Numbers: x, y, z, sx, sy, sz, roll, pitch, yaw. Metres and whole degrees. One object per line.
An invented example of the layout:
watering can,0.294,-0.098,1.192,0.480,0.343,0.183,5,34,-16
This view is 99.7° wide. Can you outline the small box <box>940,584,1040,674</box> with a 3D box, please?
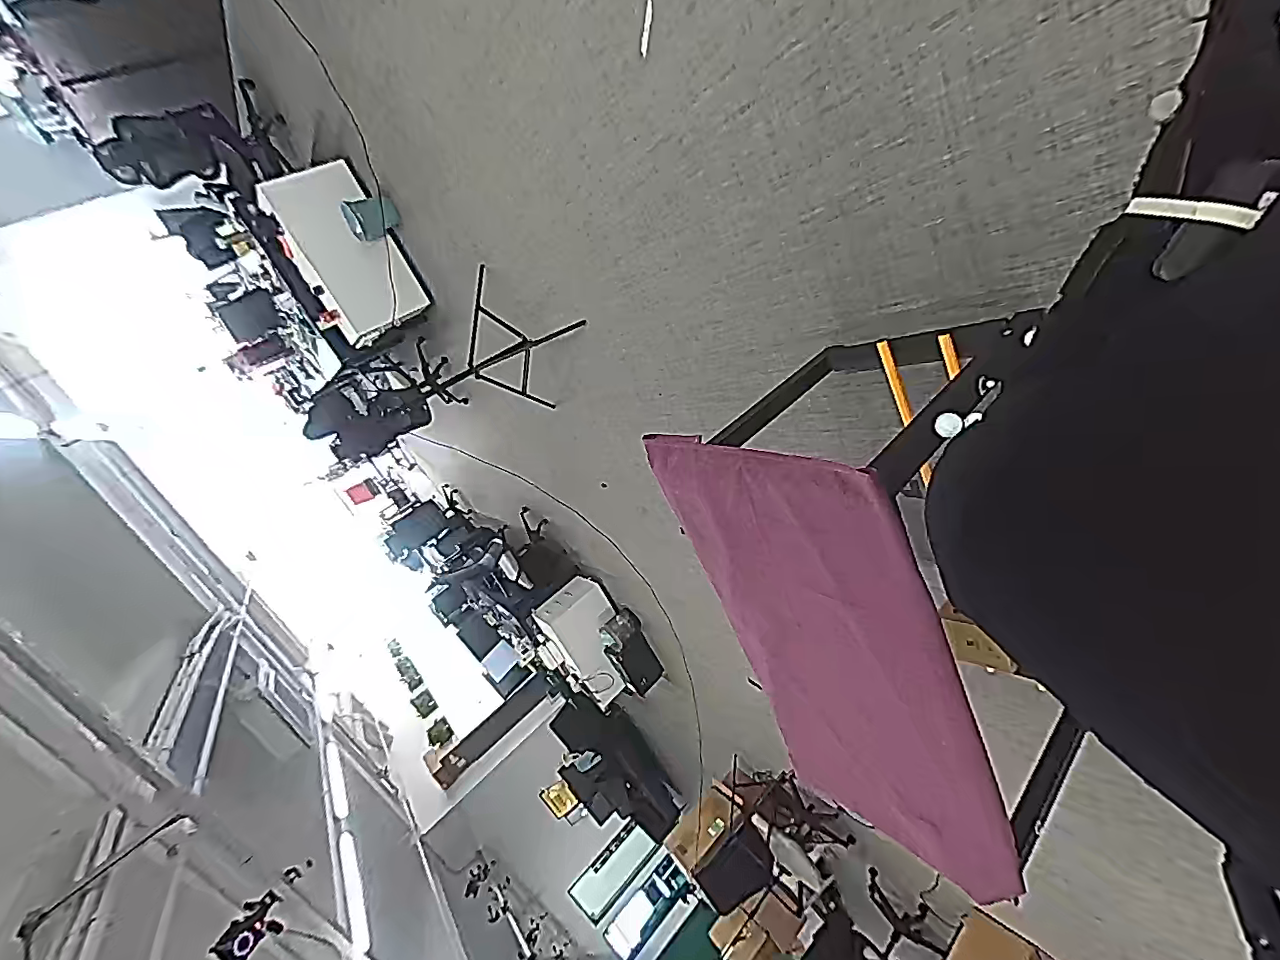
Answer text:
small box,1.014,0.421,1.567,0.179,0.176,0.168,-1,123,57
